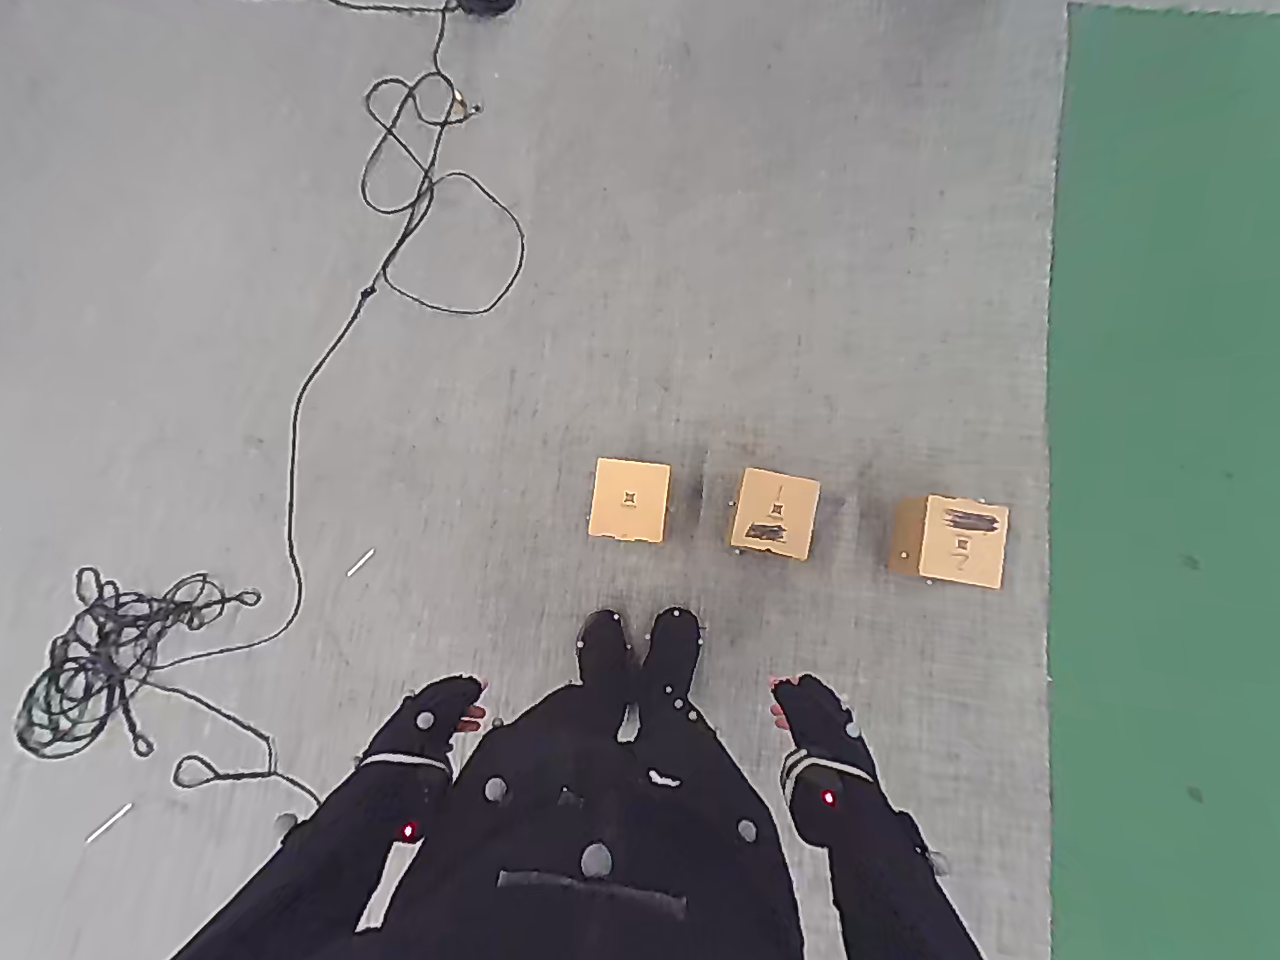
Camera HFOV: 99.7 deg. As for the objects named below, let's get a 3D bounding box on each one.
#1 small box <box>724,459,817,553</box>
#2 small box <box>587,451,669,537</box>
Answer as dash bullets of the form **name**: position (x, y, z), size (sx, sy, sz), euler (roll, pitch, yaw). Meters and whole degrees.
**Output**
- **small box**: position (0.291, 0.064, 1.240), size (0.168, 0.176, 0.179), euler (12, 83, 5)
- **small box**: position (-0.021, 0.038, 1.269), size (0.168, 0.176, 0.179), euler (6, 84, 5)
